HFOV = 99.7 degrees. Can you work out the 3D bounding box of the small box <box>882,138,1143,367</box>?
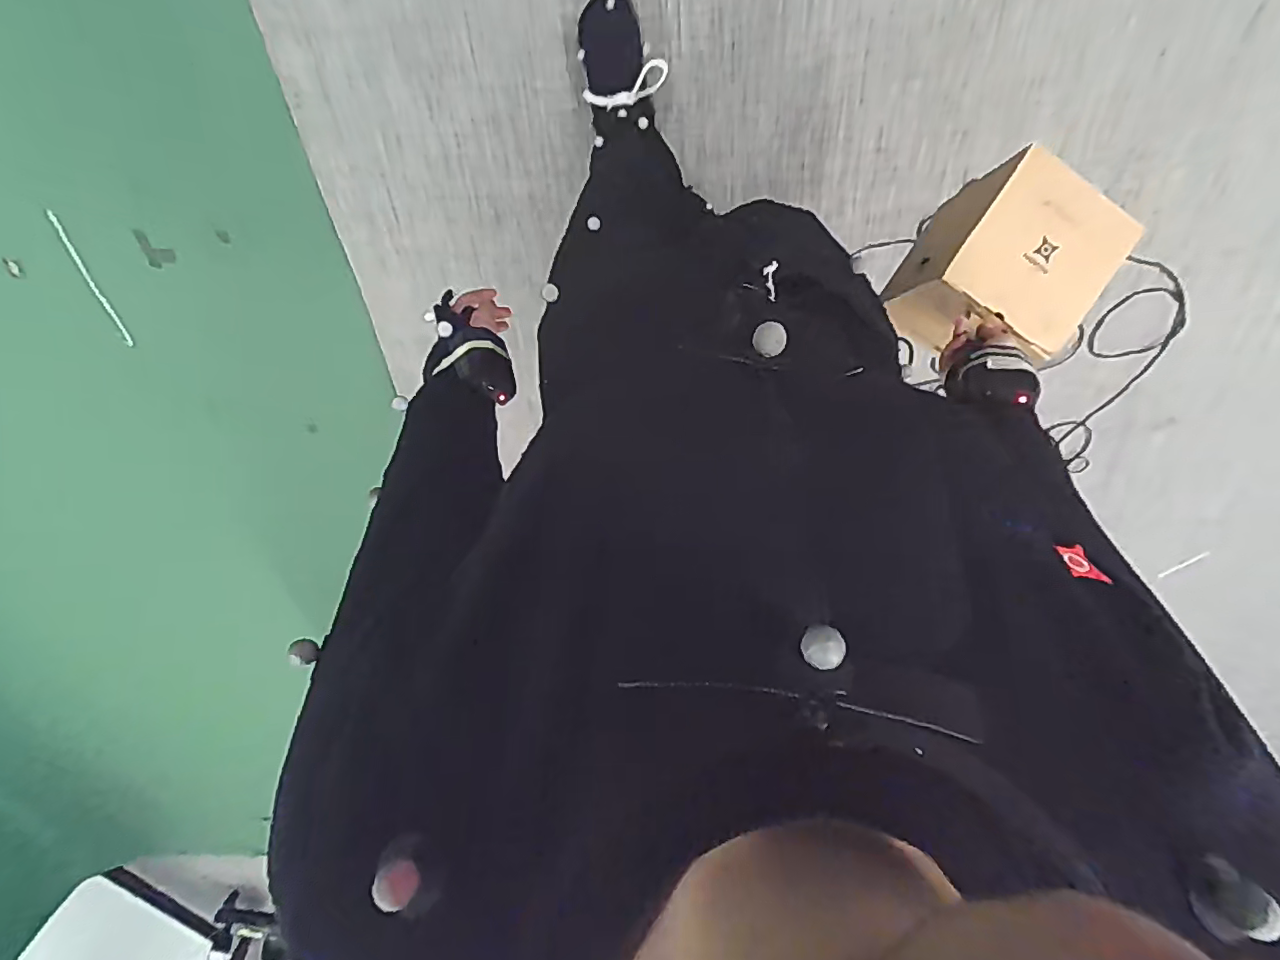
[{"bbox_3d":[0.434,-0.258,0.667,0.168,0.176,0.179,33,92,-7],"label":"small box"}]
